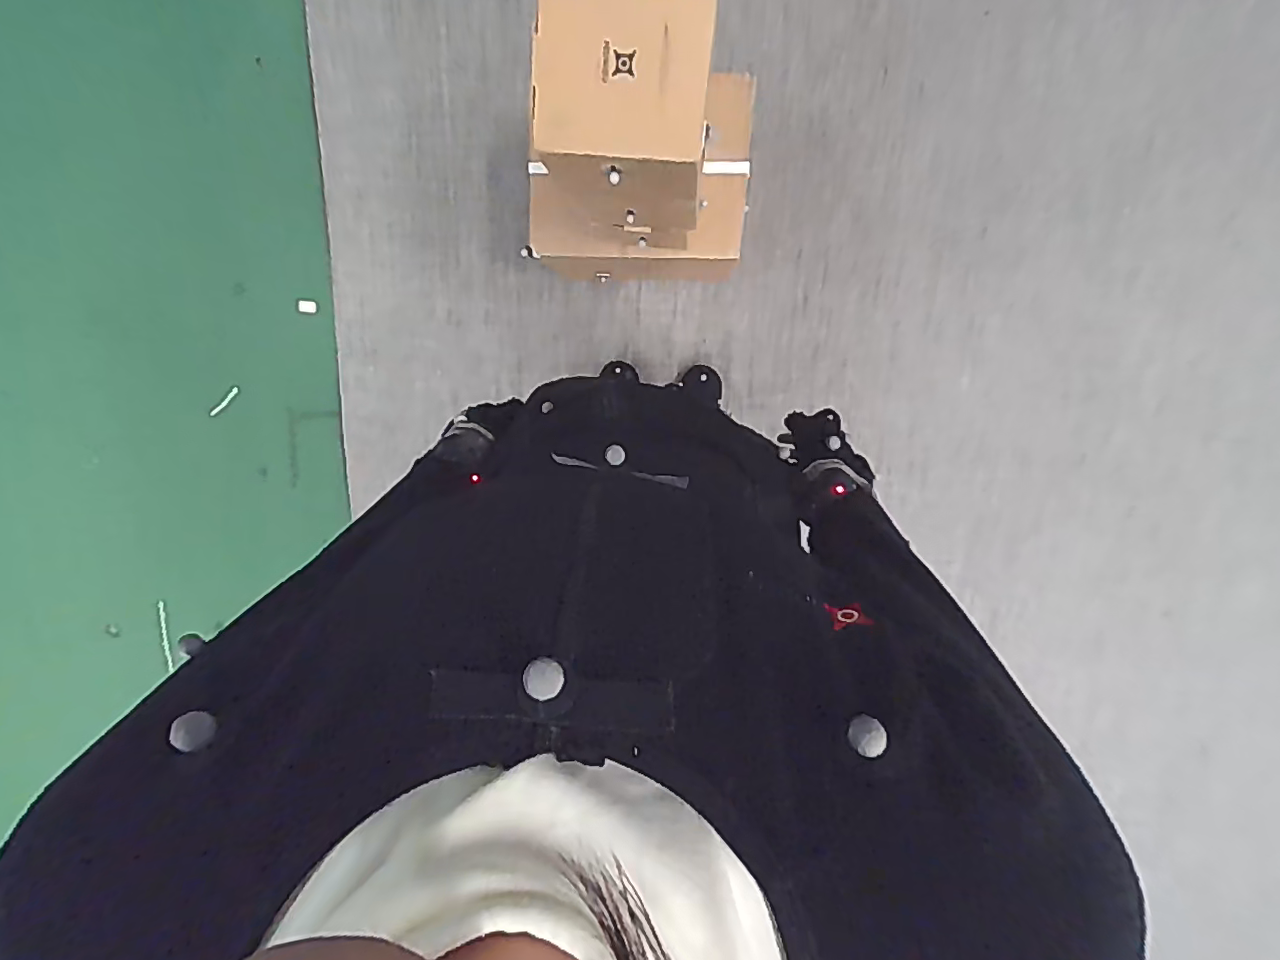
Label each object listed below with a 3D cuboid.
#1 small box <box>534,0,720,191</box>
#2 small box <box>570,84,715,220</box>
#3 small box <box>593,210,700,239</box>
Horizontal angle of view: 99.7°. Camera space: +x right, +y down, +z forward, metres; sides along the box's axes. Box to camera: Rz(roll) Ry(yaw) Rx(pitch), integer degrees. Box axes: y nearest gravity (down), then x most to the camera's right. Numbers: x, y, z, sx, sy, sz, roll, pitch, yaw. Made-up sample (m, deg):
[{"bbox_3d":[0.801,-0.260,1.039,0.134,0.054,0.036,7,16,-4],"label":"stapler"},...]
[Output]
[{"bbox_3d":[-0.008,-0.433,0.601,0.179,0.176,0.168,5,106,5],"label":"small box"},{"bbox_3d":[0.010,-0.472,0.757,0.179,0.176,0.168,6,105,6],"label":"small box"},{"bbox_3d":[0.022,-0.516,0.916,0.168,0.176,0.179,6,106,5],"label":"small box"}]
